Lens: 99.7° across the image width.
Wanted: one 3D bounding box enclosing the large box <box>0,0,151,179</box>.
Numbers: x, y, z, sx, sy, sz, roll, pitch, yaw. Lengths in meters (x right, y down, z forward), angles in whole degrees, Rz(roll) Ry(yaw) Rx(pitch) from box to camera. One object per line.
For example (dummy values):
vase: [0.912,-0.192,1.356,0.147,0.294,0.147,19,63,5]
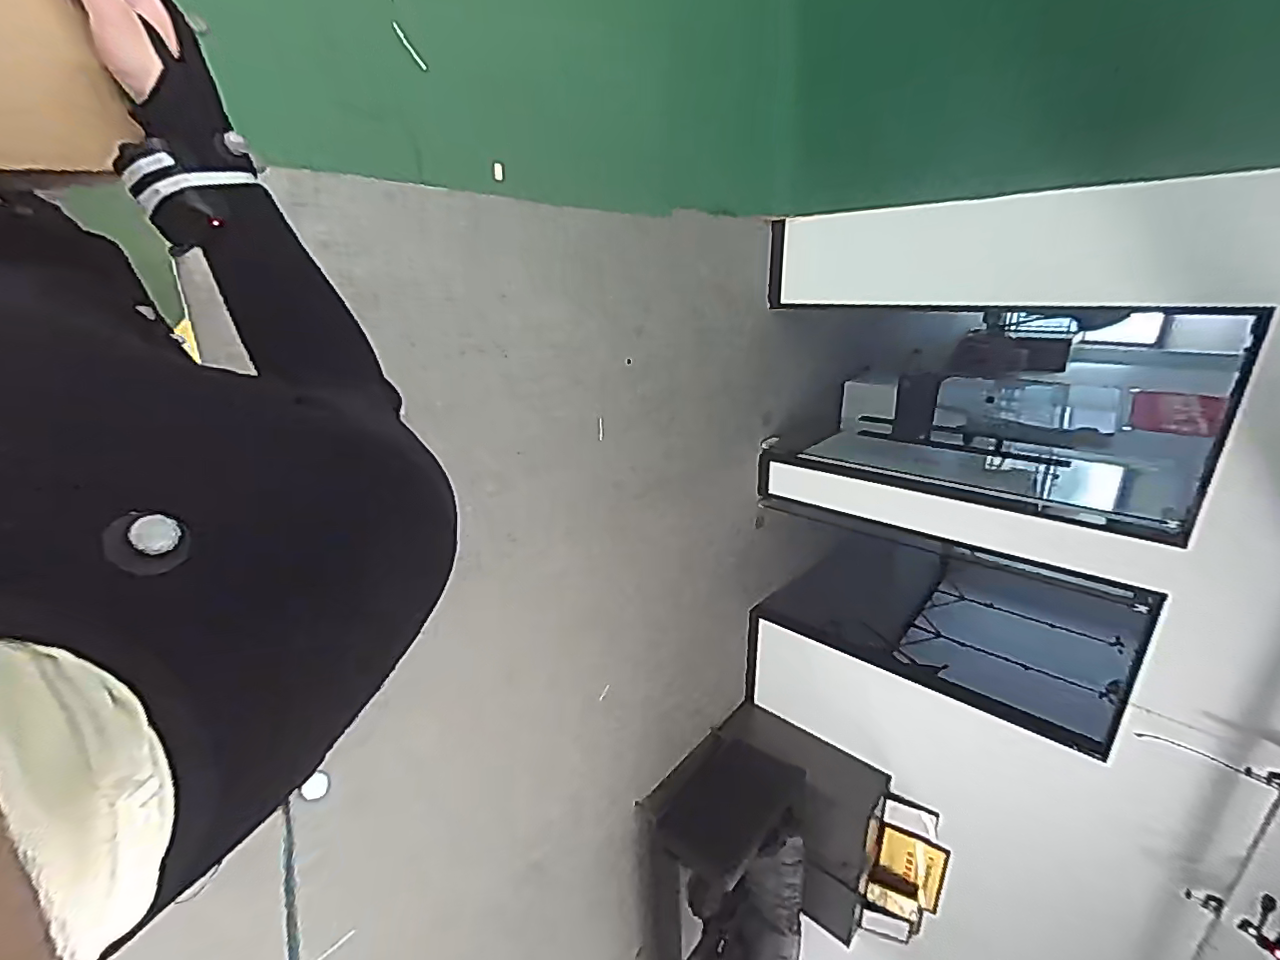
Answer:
large box: [-0.642,-0.367,0.330,0.408,0.320,0.320,-28,128,-41]
